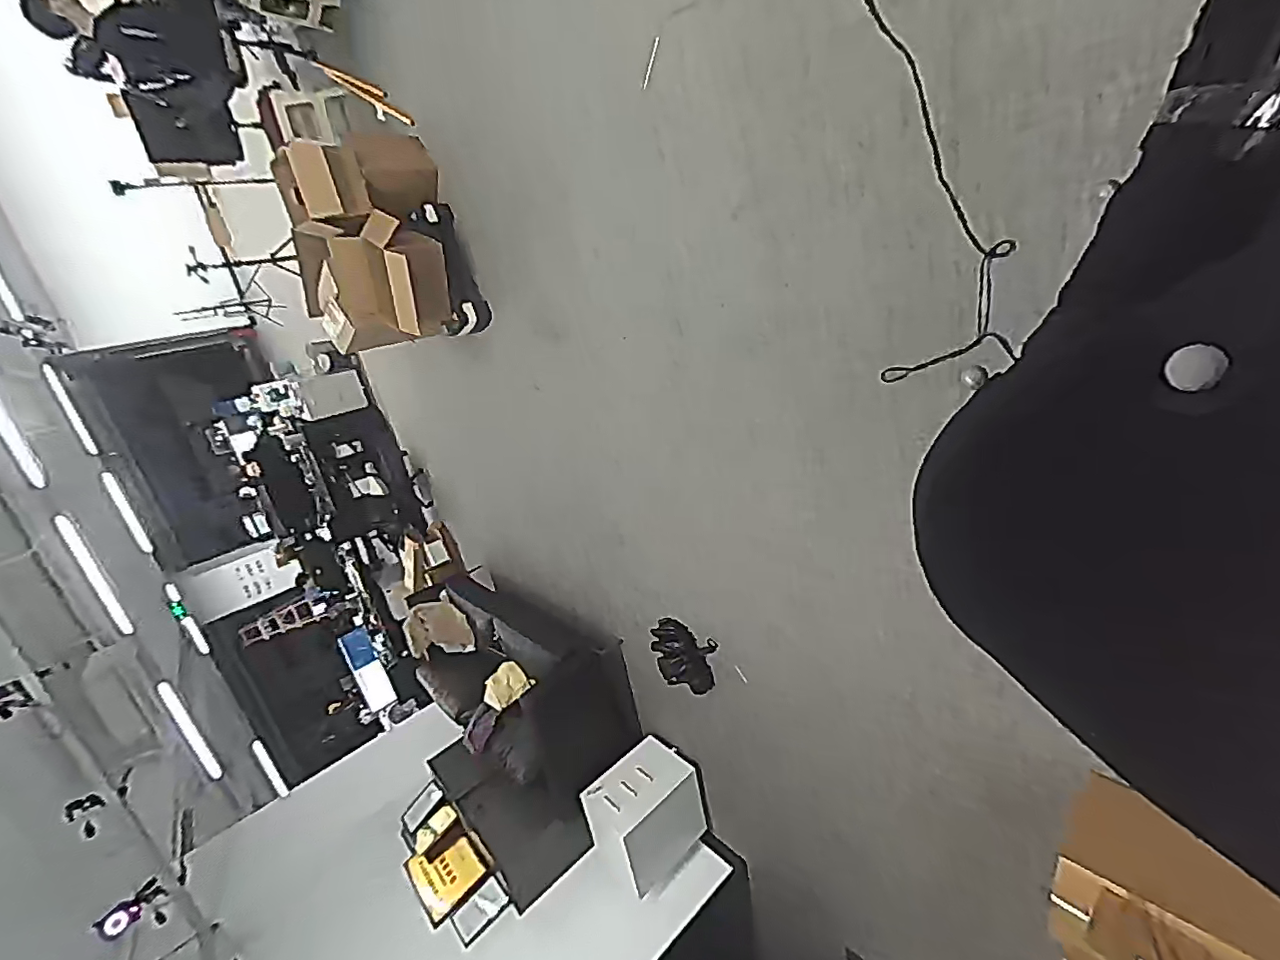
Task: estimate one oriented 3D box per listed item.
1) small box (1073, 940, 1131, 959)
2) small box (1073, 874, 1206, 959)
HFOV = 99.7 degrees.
[{"bbox_3d":[0.967,1.088,1.089,0.179,0.176,0.168,16,123,45],"label":"small box"},{"bbox_3d":[1.088,1.025,1.180,0.179,0.176,0.168,19,125,47],"label":"small box"}]
